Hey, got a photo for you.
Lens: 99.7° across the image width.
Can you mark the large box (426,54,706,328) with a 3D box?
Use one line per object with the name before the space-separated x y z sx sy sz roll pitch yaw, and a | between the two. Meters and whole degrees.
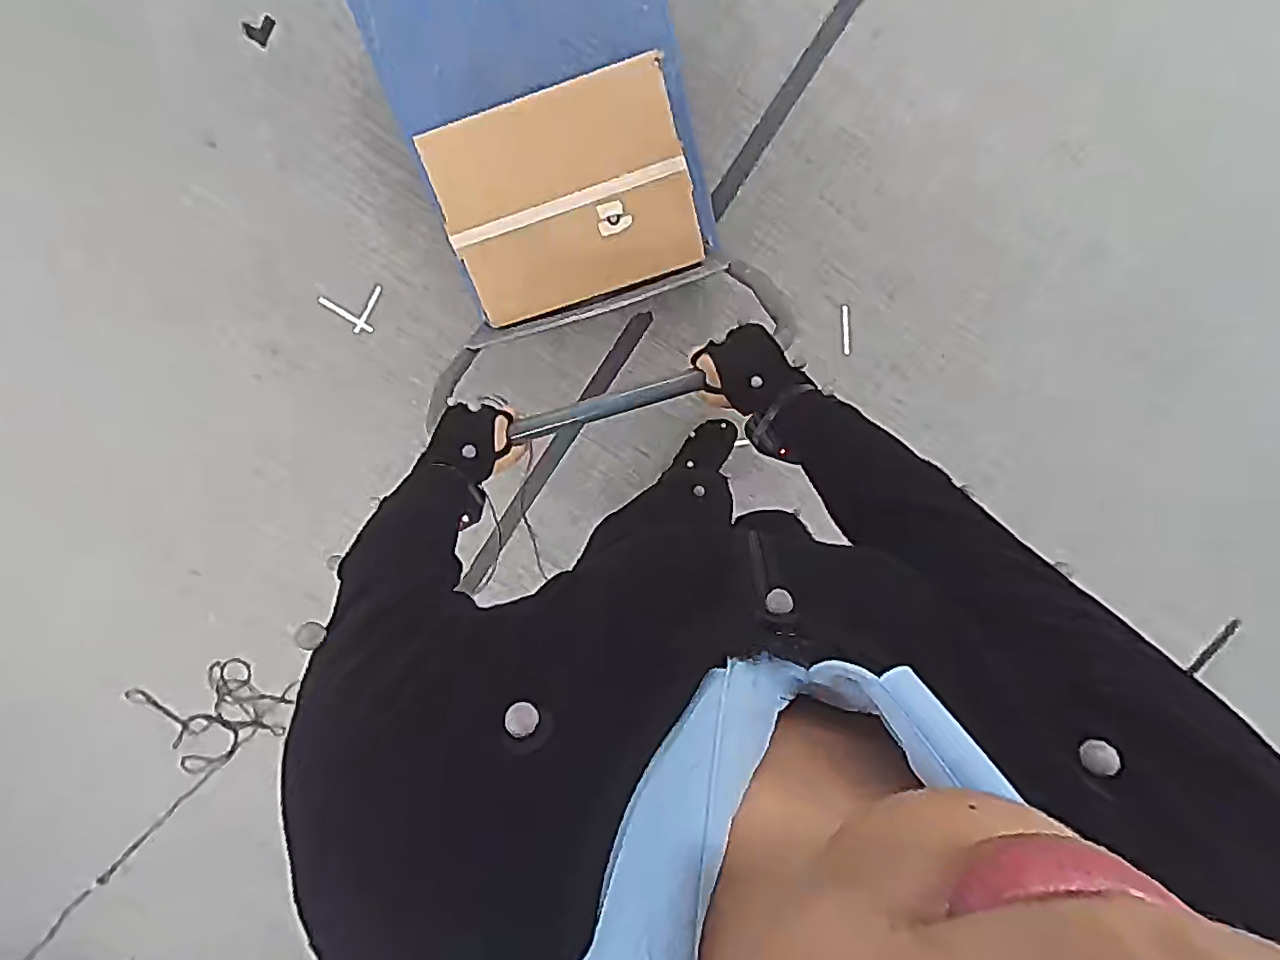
large box | -0.124 -0.530 1.051 0.408 0.320 0.320 -18 115 4
